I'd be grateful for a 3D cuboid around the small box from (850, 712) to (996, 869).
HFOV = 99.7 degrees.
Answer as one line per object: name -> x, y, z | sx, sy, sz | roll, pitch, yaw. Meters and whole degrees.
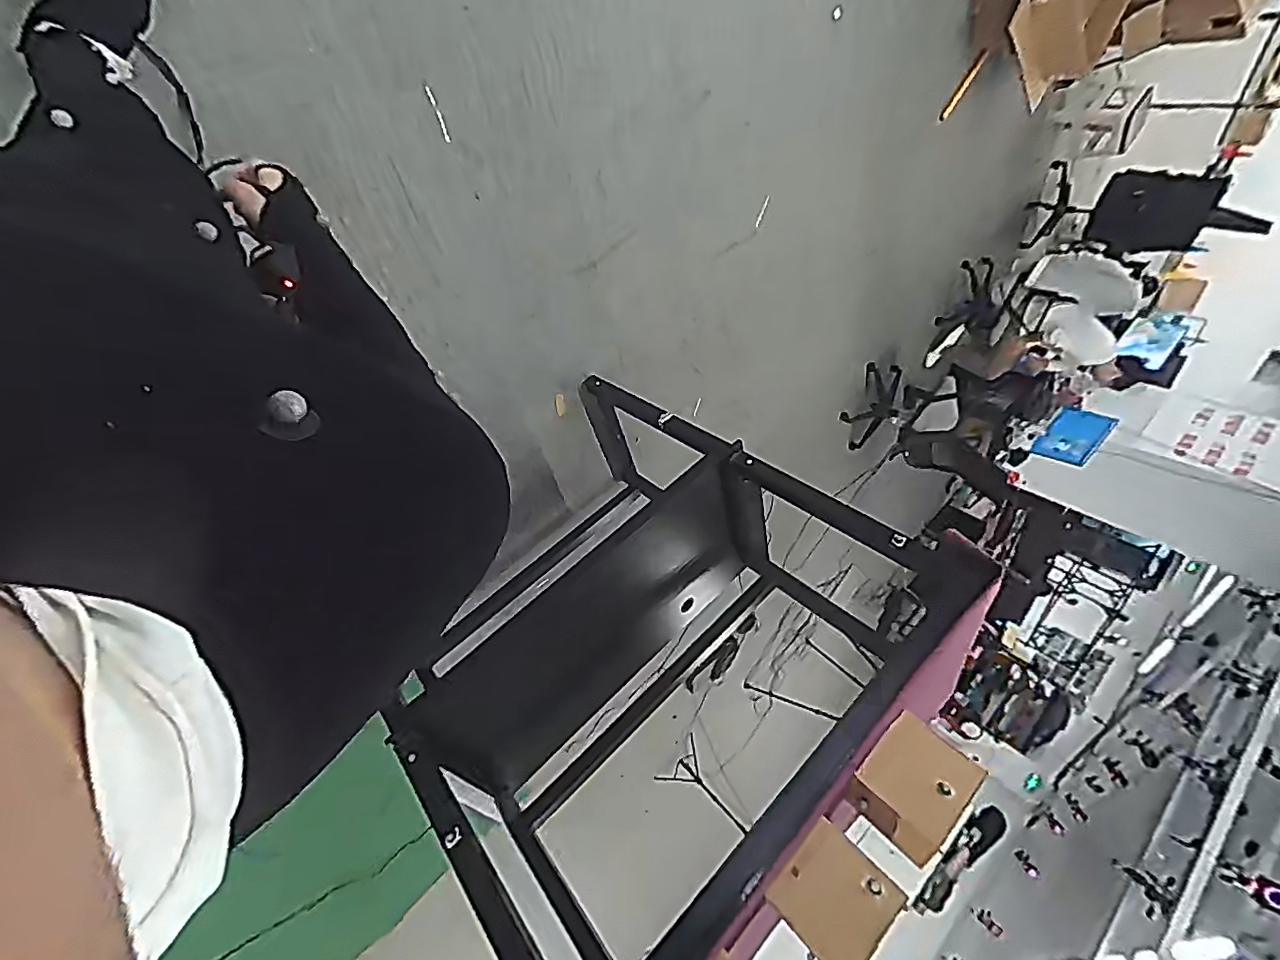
small box -> 0.529, 0.584, 1.030 | 0.179, 0.176, 0.168 | -37, 137, -22
